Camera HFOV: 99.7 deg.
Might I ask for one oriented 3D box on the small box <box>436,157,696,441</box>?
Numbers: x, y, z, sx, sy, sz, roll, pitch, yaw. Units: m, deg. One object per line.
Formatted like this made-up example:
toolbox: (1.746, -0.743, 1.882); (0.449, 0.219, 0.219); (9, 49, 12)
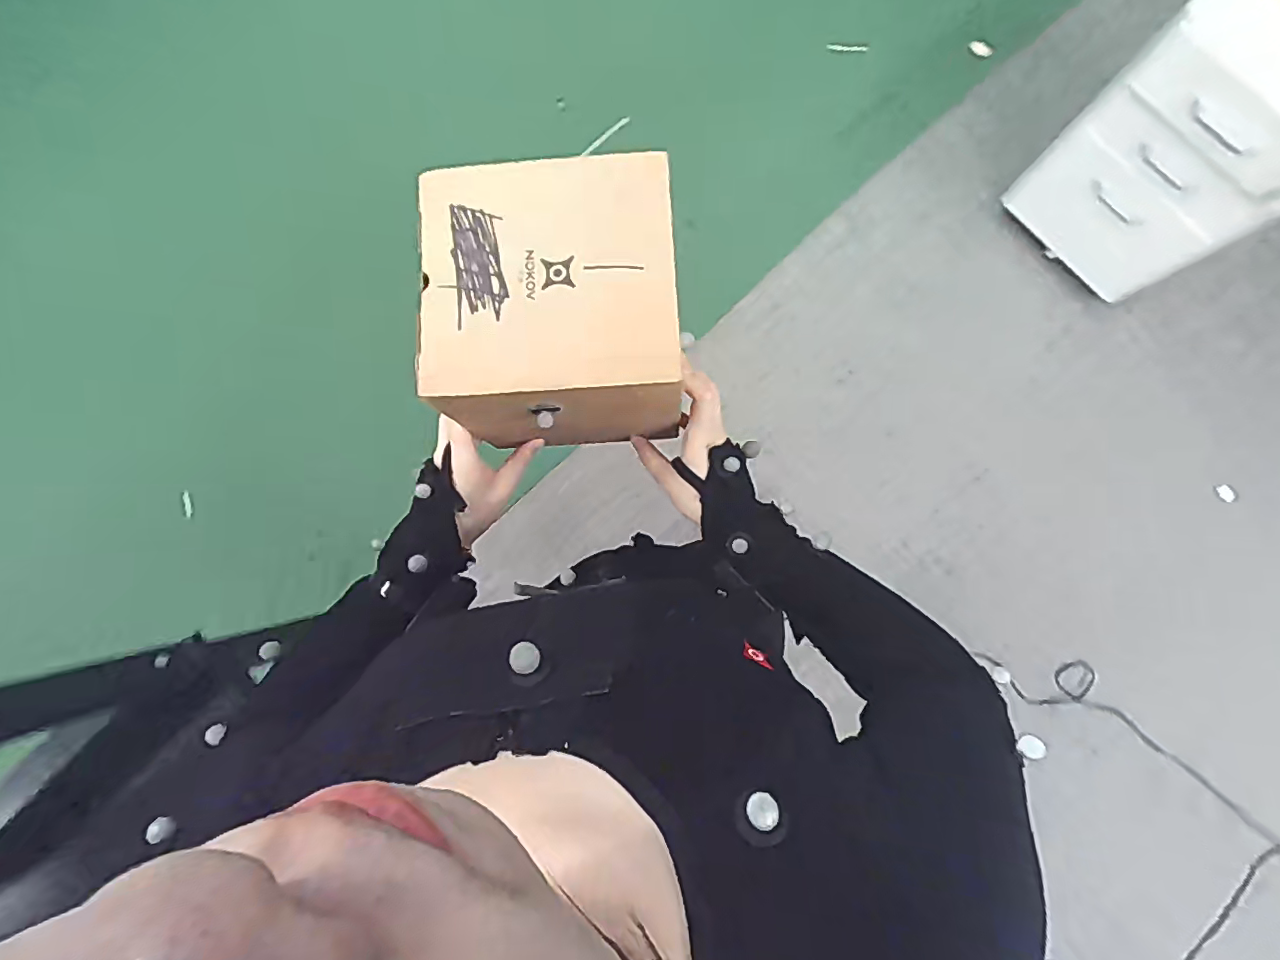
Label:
small box: (-0.048, -0.129, 0.445); (0.179, 0.176, 0.168); (-2, 83, 1)
